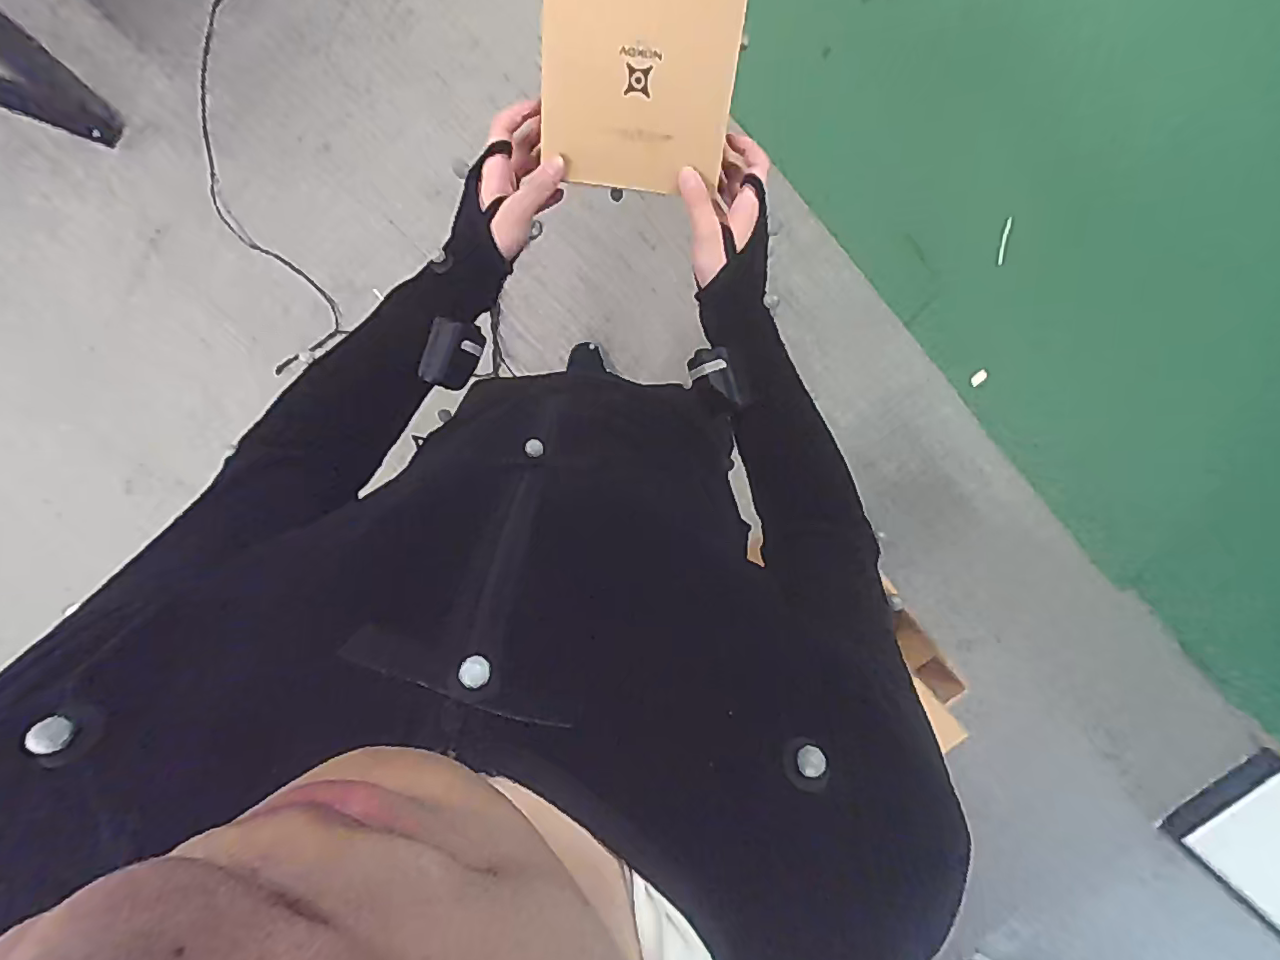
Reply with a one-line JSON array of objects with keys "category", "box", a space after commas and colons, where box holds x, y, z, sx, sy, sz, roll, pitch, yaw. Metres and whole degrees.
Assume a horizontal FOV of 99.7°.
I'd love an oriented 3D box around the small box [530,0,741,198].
[{"category": "small box", "box": [-0.008, -0.382, 0.521, 0.168, 0.176, 0.179, 6, 119, -3]}]
